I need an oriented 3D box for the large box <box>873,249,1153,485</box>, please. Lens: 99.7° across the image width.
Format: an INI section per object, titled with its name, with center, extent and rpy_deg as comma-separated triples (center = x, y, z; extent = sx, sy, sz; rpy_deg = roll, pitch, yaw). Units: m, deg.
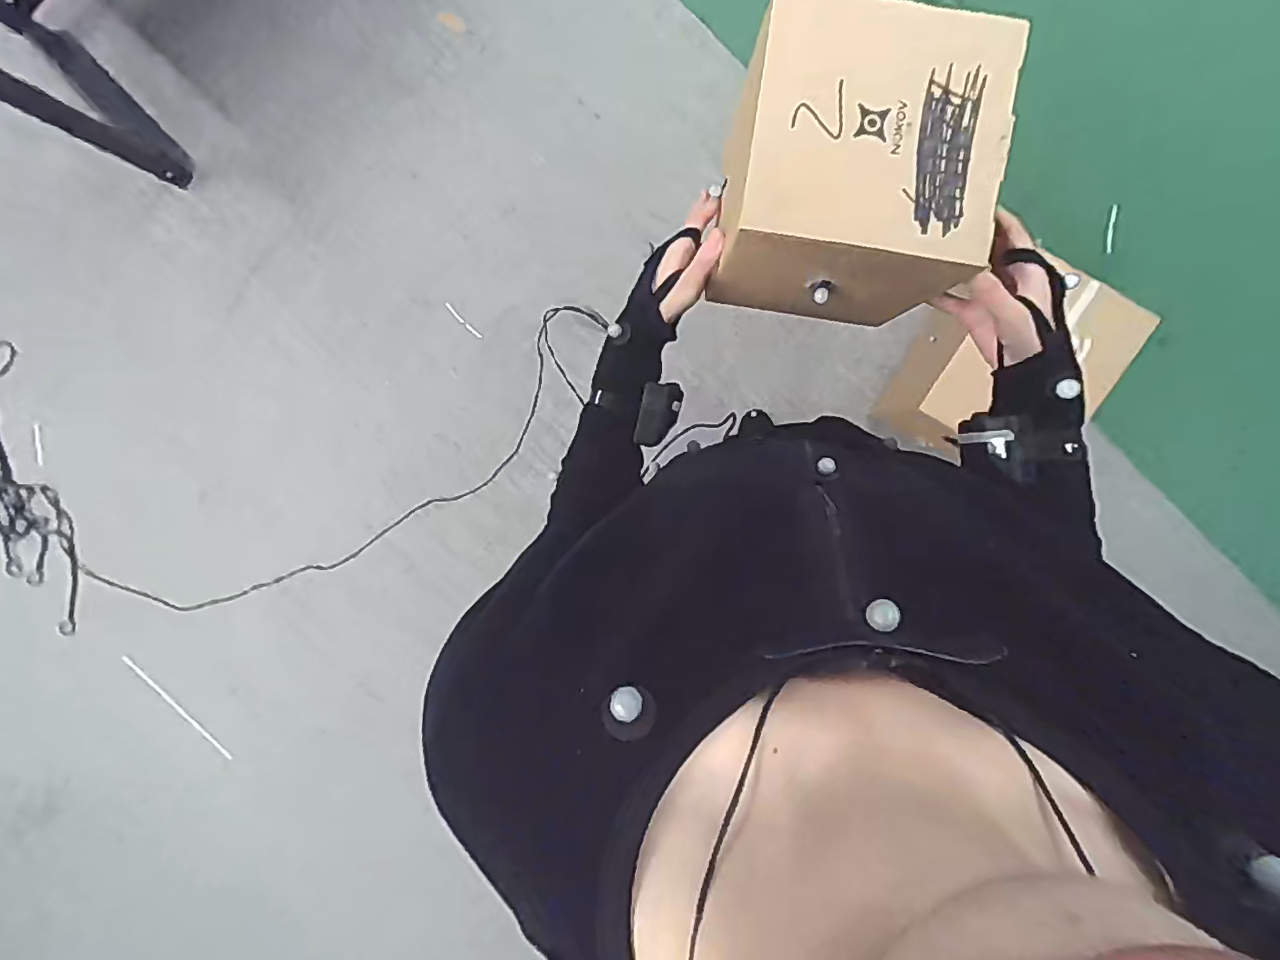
[large box]
center = 0.834, -0.240, 1.276
extent = 0.320, 0.320, 0.408
rpy_deg = 32, 95, 1
